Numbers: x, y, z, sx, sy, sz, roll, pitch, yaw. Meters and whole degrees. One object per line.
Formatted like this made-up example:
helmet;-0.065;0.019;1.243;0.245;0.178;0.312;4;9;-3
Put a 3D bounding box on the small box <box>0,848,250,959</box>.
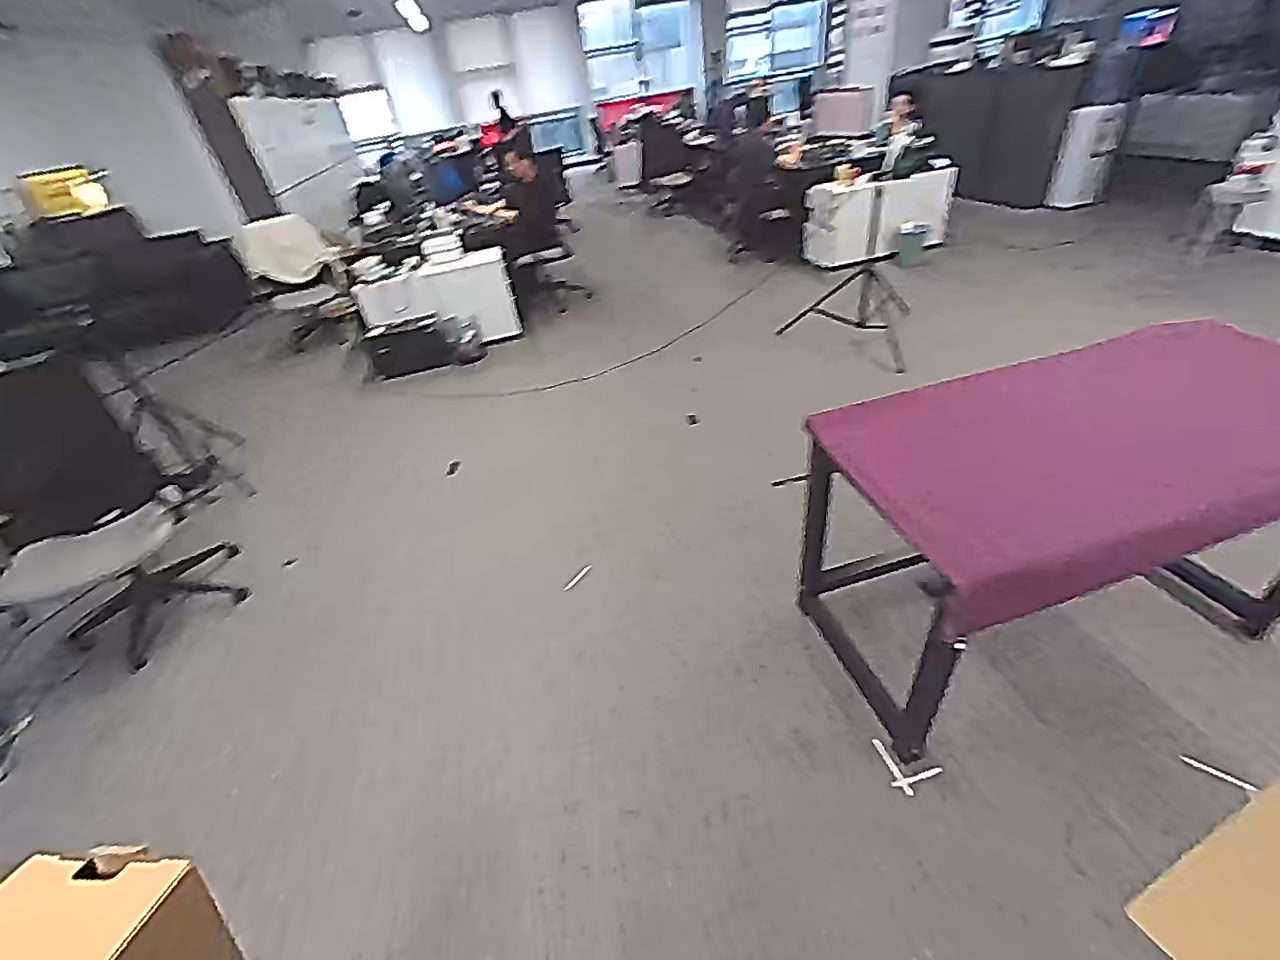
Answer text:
small box;-0.480;0.455;0.456;0.168;0.176;0.179;-1;20;5
